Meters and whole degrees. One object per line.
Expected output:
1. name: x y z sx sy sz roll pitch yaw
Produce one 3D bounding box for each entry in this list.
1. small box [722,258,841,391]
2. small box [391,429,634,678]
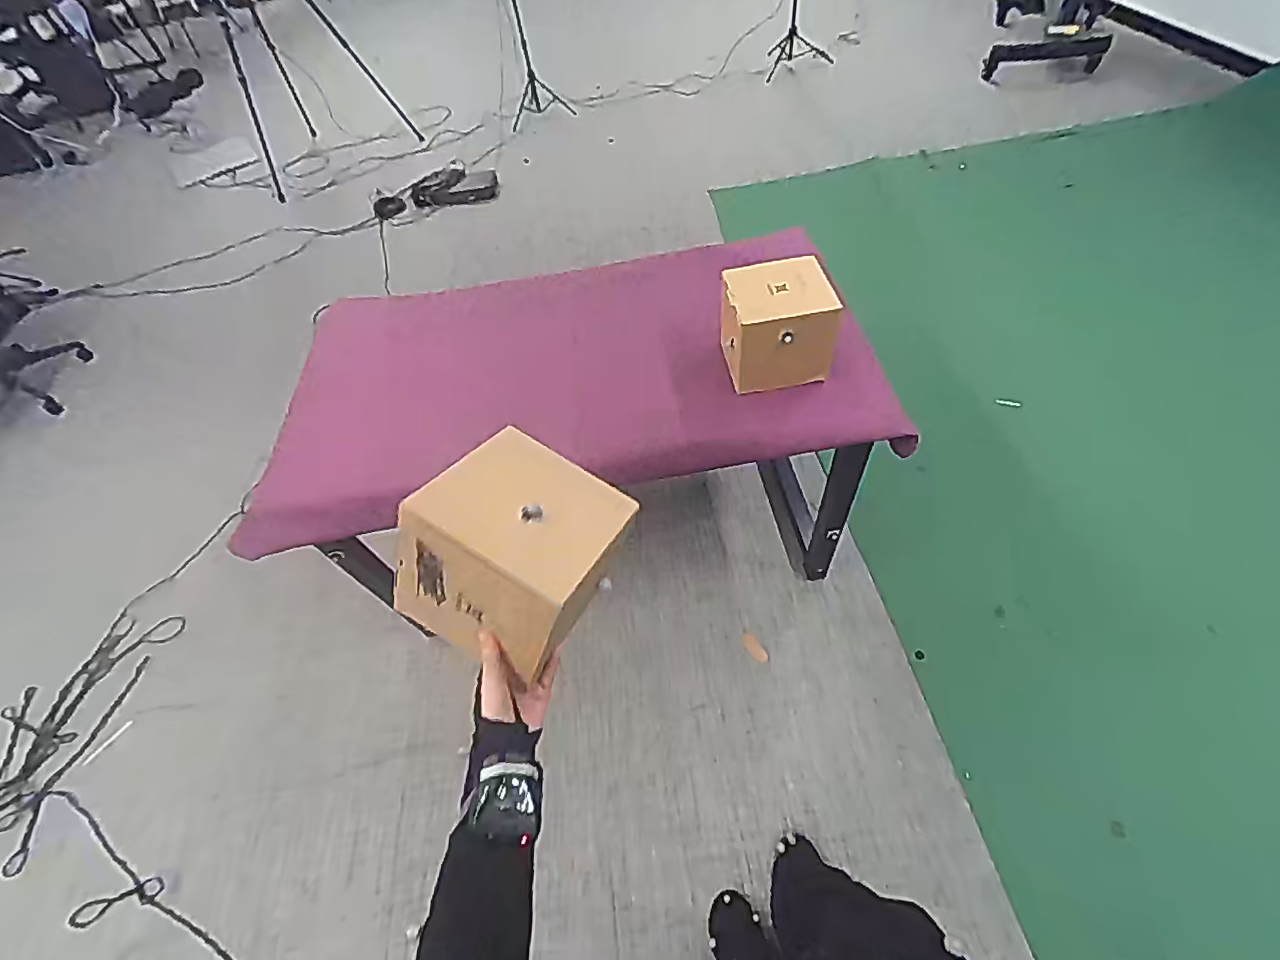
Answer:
1. small box: 0.253 -0.284 1.012 0.179 0.176 0.168 -8 53 2
2. small box: -0.135 0.067 0.585 0.179 0.168 0.176 31 38 6
